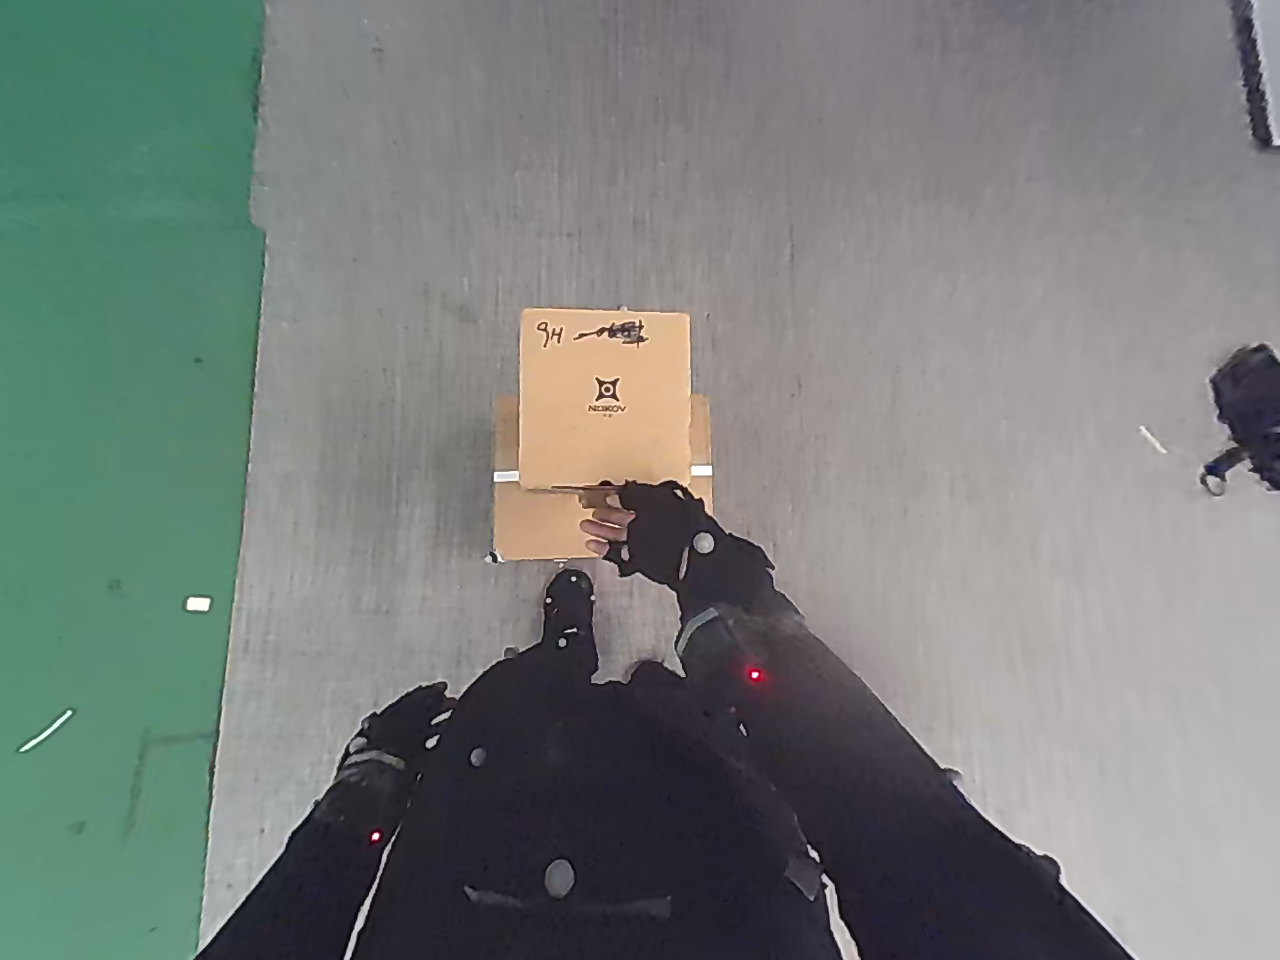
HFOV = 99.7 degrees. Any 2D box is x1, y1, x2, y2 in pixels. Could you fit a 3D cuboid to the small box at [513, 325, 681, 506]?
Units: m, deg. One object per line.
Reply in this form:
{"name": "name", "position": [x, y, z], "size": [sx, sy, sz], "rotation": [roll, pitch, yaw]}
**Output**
{"name": "small box", "position": [-0.046, -0.061, 0.606], "size": [0.168, 0.176, 0.179], "rotation": [0, 88, -5]}
